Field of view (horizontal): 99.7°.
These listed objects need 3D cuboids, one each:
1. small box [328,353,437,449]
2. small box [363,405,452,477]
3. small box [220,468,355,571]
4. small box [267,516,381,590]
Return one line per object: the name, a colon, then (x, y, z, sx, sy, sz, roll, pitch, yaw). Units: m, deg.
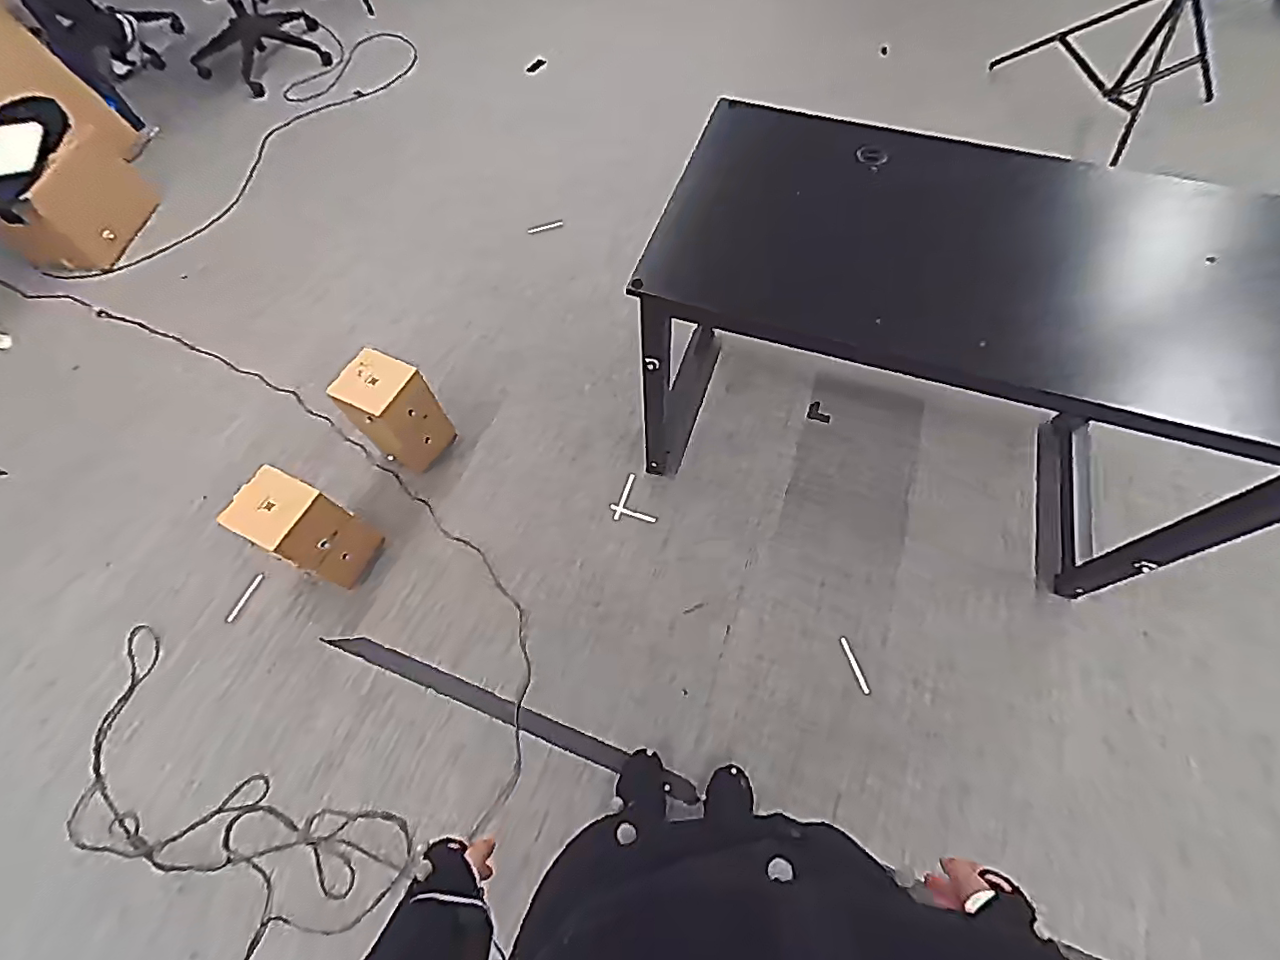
small box: (-0.685, -0.207, 1.465, 0.179, 0.176, 0.168, 22, 65, 13)
small box: (-0.688, -0.141, 1.616, 0.168, 0.176, 0.179, 25, 67, 14)
small box: (-0.848, 0.103, 1.318, 0.179, 0.176, 0.168, 23, 67, 11)
small box: (-0.842, 0.180, 1.463, 0.168, 0.176, 0.179, 18, 66, 11)
